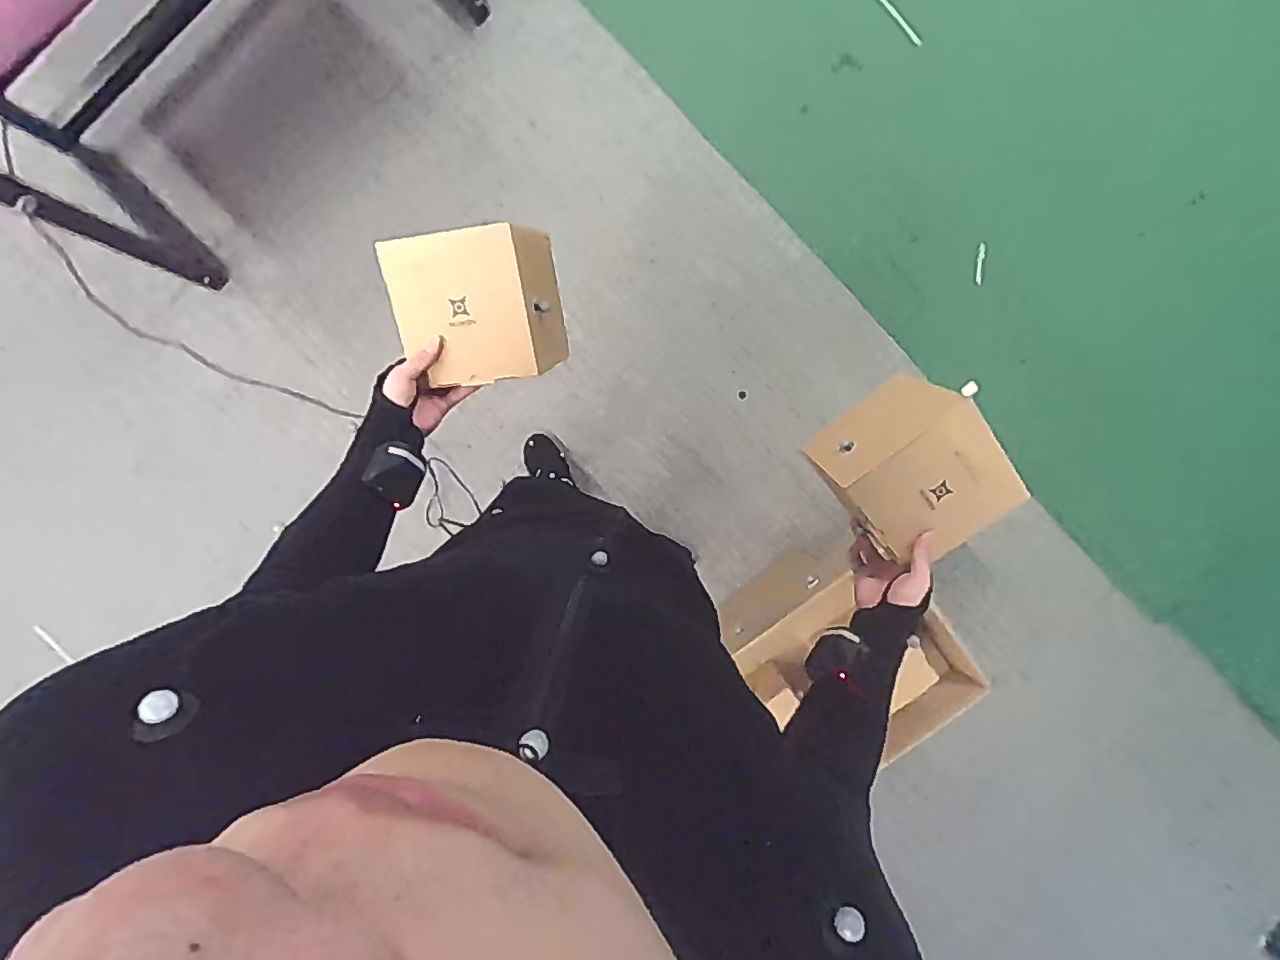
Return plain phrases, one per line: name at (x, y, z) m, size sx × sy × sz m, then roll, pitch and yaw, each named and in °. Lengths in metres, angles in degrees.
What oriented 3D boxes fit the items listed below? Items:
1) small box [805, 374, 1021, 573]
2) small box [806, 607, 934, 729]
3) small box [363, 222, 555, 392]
small box at (0.344, -0.016, 0.723) m, size 0.179 × 0.176 × 0.168 m, roll -38°, pitch 109°, yaw 10°
small box at (0.510, 0.415, 1.227) m, size 0.179 × 0.176 × 0.168 m, roll -35°, pitch 92°, yaw 0°
small box at (-0.218, -0.225, 0.706) m, size 0.168 × 0.176 × 0.179 m, roll -6°, pitch 112°, yaw 7°
